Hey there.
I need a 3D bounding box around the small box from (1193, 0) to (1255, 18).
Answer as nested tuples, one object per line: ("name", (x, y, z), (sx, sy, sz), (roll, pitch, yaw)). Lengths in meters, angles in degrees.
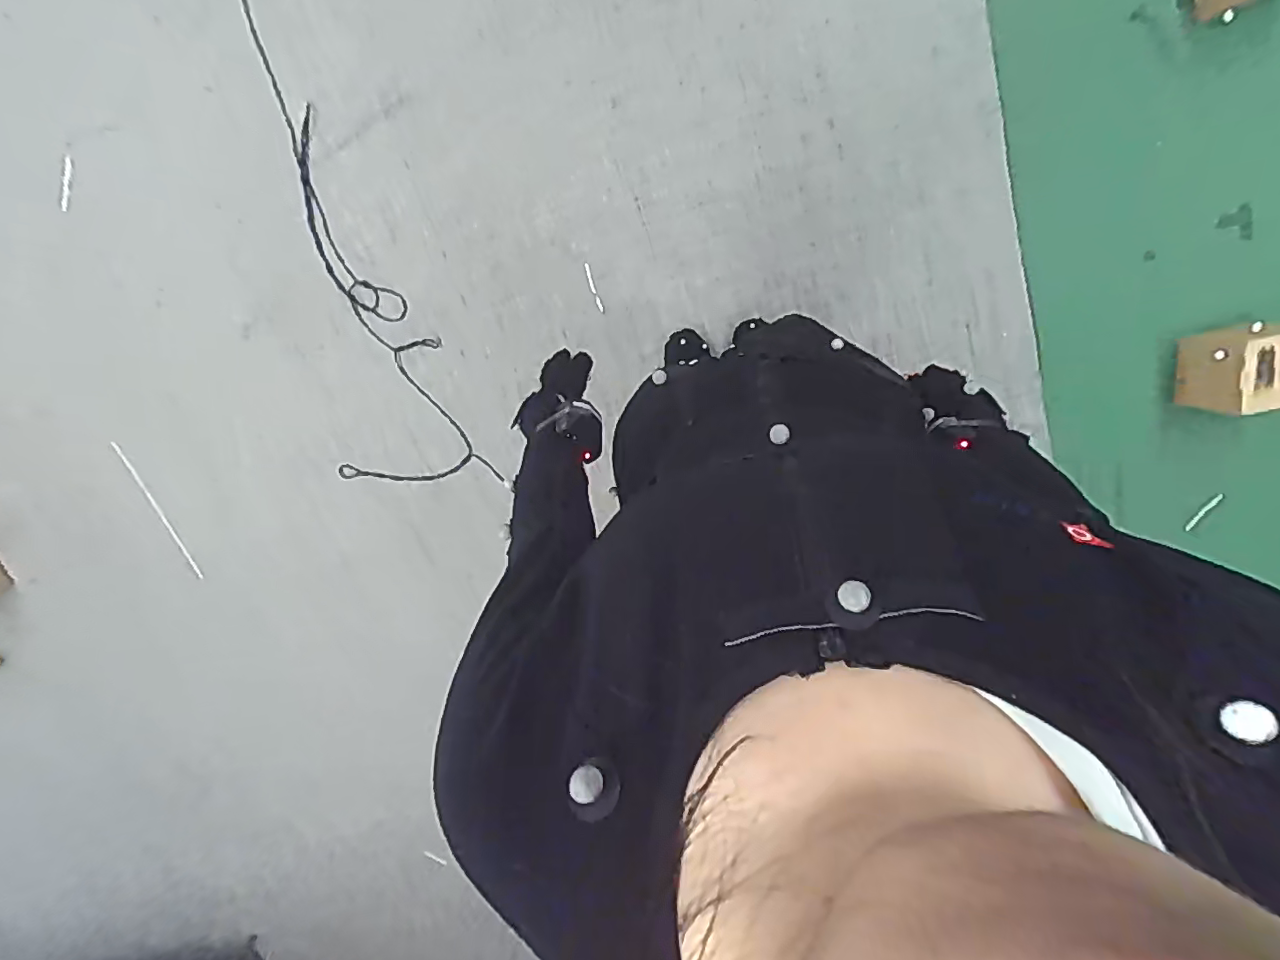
("small box", (1.194, -1.024, 1.015), (0.168, 0.176, 0.179), (-20, 103, 10))
